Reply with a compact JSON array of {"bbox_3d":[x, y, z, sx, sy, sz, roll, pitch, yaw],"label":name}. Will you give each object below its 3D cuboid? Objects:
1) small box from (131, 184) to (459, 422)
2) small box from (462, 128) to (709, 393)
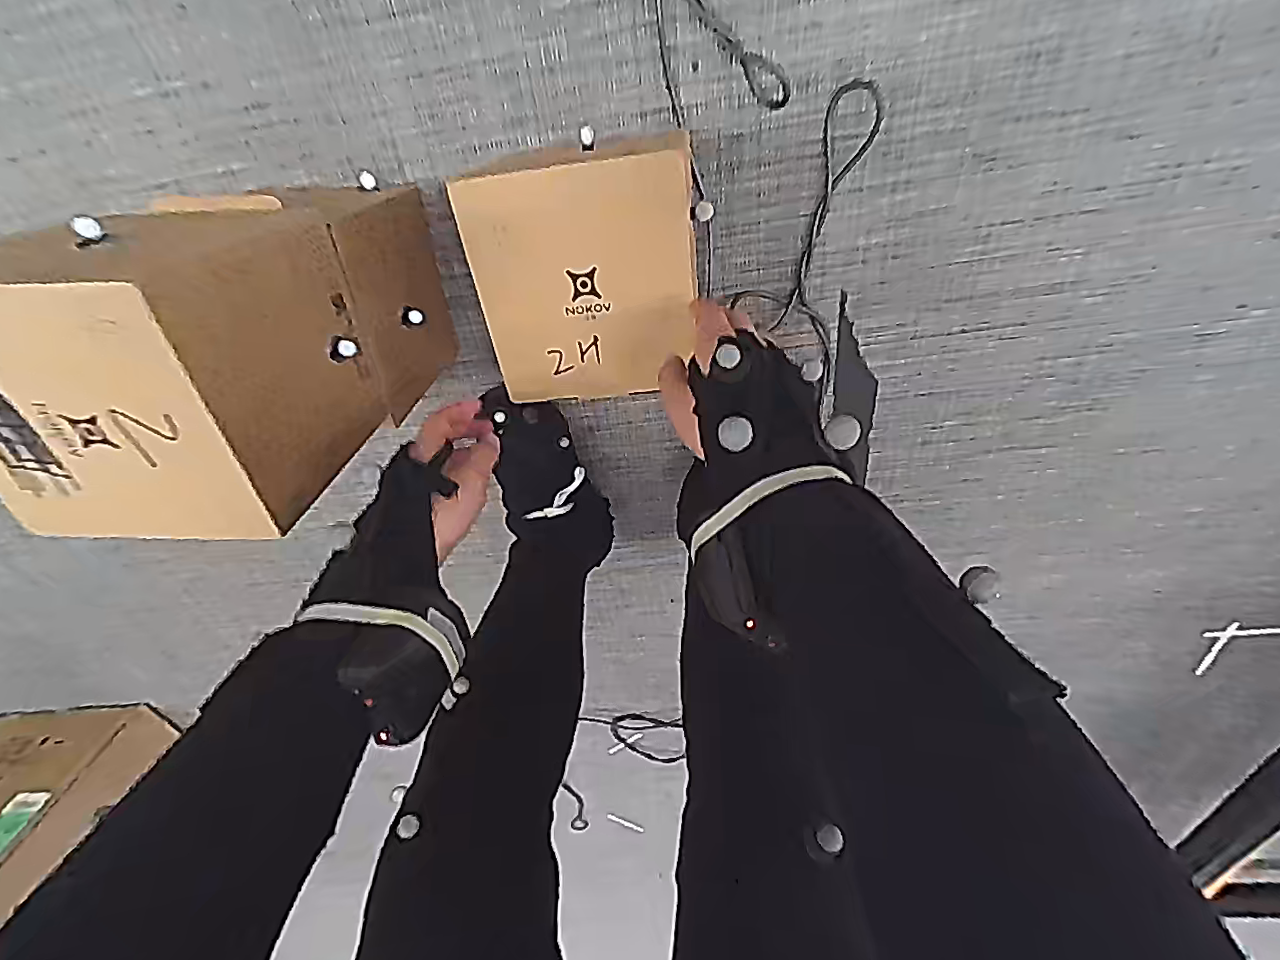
[{"bbox_3d":[-0.289,-0.171,0.506,0.168,0.176,0.179,1,127,4],"label":"small box"},{"bbox_3d":[-0.028,-0.195,0.470,0.168,0.176,0.179,-2,126,8],"label":"small box"}]
